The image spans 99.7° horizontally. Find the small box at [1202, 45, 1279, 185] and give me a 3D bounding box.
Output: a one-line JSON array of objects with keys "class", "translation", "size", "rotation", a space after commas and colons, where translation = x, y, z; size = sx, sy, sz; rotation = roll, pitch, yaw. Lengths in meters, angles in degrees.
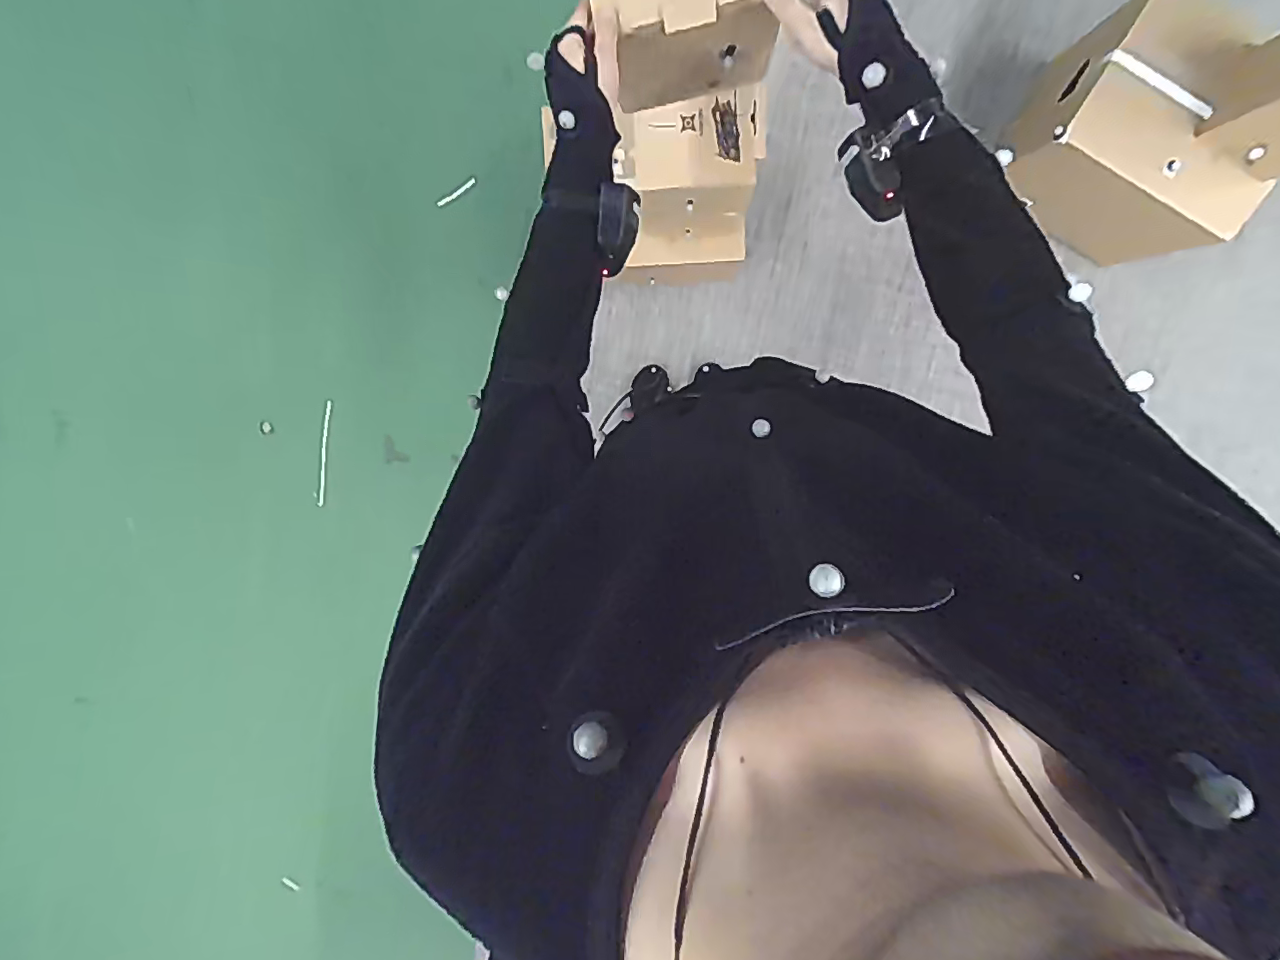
[{"class": "small box", "translation": [1.145, -0.648, 0.919], "size": [0.168, 0.176, 0.179], "rotation": [30, 101, -3]}]

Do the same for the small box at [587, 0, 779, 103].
[{"class": "small box", "translation": [0.037, -0.489, 0.509], "size": [0.168, 0.176, 0.179], "rotation": [-7, 104, 9]}]

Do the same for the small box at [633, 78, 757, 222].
[{"class": "small box", "translation": [0.084, -0.513, 0.843], "size": [0.179, 0.176, 0.168], "rotation": [-1, 102, 6]}]

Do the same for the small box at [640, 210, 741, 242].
[{"class": "small box", "translation": [0.094, -0.549, 1.003], "size": [0.179, 0.176, 0.168], "rotation": [2, 102, 3]}]

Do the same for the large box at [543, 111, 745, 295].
[{"class": "large box", "translation": [0.024, -0.615, 1.245], "size": [0.408, 0.320, 0.320], "rotation": [-2, 101, 5]}]
